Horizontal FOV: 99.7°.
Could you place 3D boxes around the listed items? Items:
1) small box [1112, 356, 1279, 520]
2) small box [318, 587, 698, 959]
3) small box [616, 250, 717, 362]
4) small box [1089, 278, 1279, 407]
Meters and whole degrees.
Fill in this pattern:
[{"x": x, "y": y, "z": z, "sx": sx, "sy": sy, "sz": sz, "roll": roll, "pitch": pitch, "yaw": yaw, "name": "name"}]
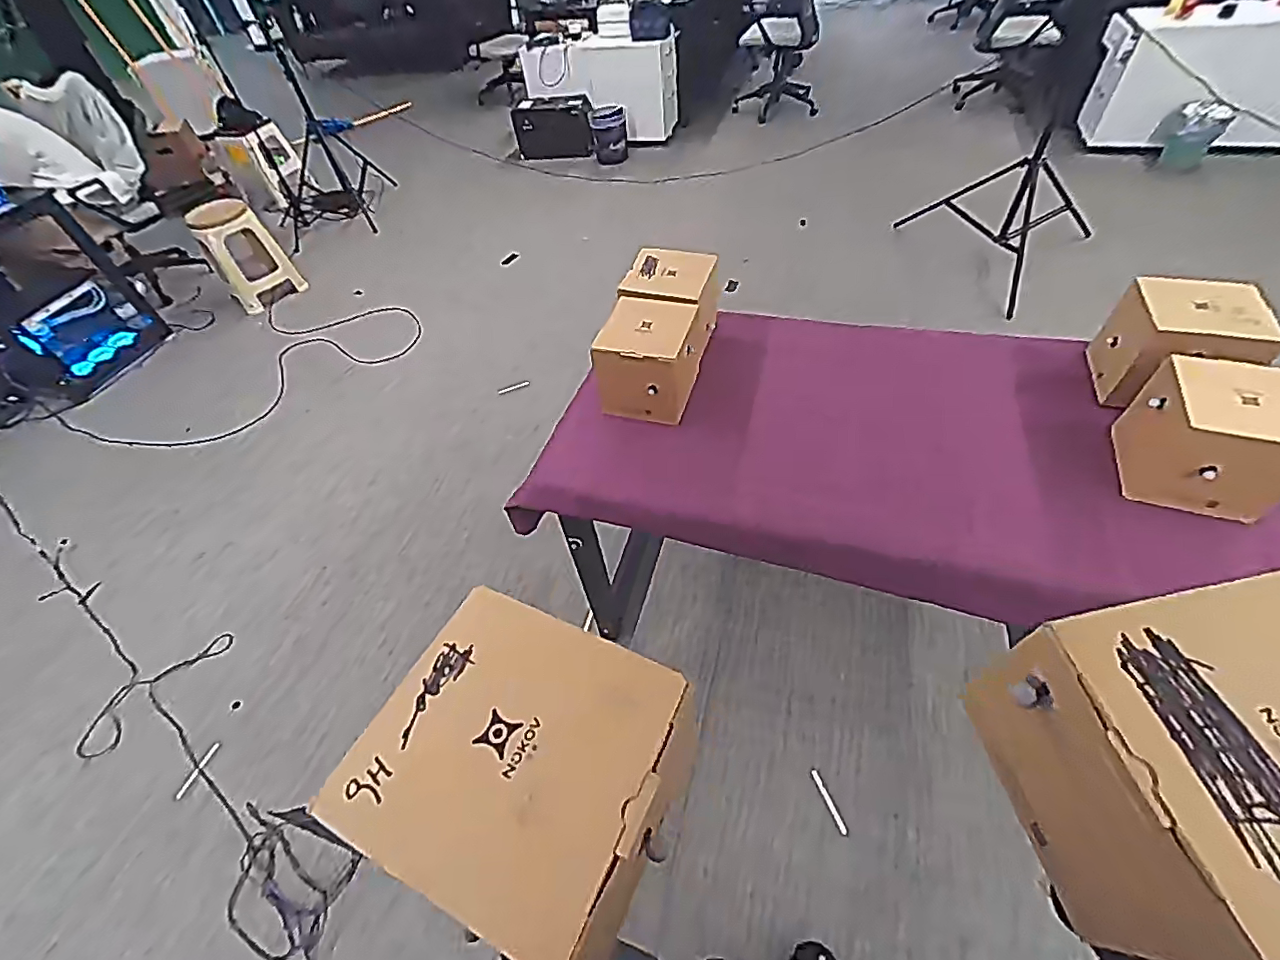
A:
[{"x": 0.879, "y": -0.063, "z": 0.838, "sx": 0.168, "sy": 0.176, "sz": 0.179, "roll": 14, "pitch": 53, "yaw": 19, "name": "small box"}, {"x": -0.071, "y": 0.213, "z": 0.390, "sx": 0.179, "sy": 0.176, "sz": 0.168, "roll": 19, "pitch": 52, "yaw": 18, "name": "small box"}, {"x": 0.065, "y": -0.381, "z": 1.194, "sx": 0.179, "sy": 0.176, "sz": 0.168, "roll": 13, "pitch": 55, "yaw": 15, "name": "small box"}, {"x": 0.946, "y": -0.235, "z": 0.964, "sx": 0.179, "sy": 0.176, "sz": 0.168, "roll": 12, "pitch": 54, "yaw": 15, "name": "small box"}]
